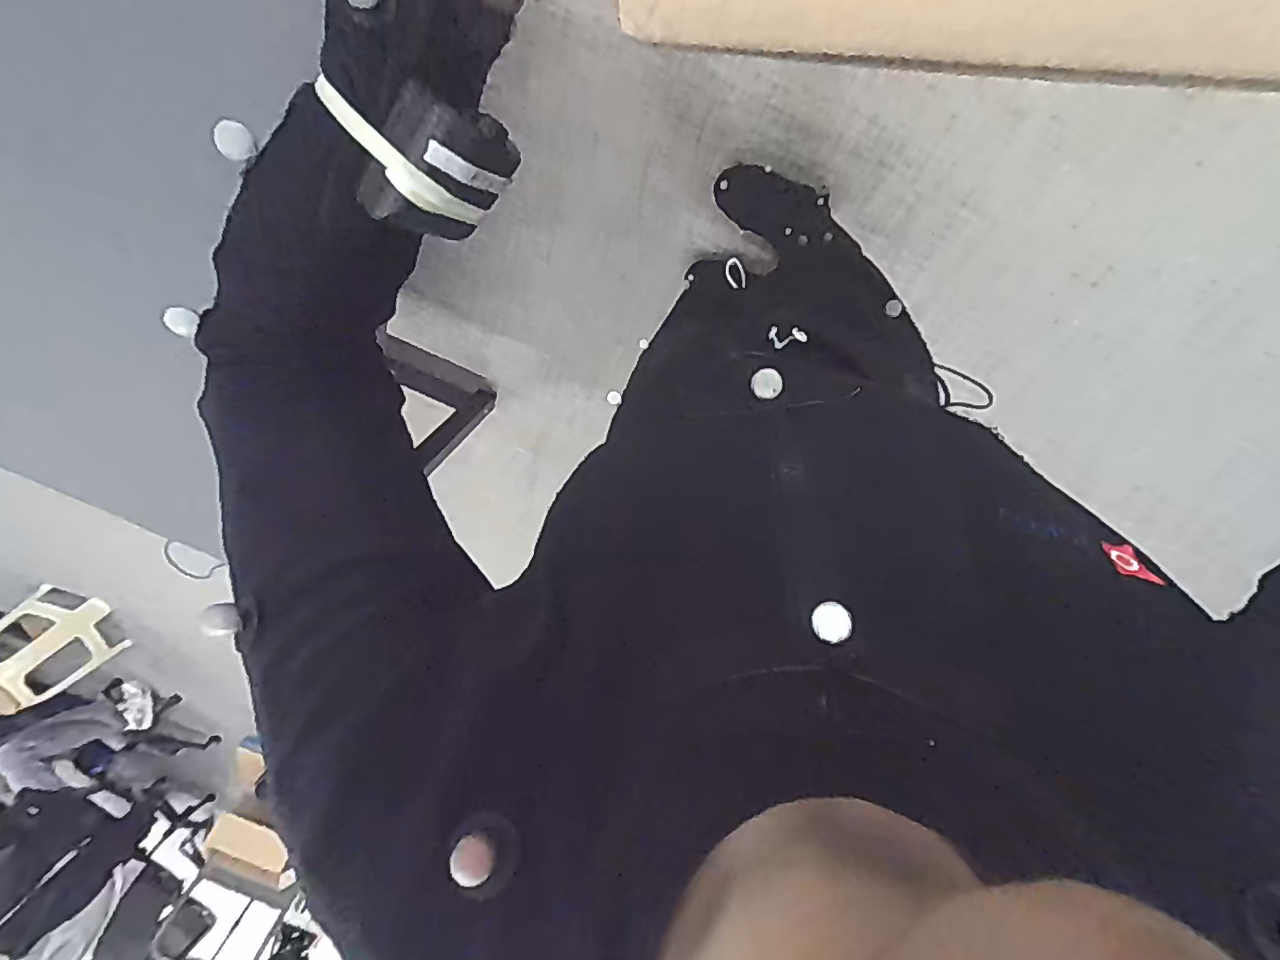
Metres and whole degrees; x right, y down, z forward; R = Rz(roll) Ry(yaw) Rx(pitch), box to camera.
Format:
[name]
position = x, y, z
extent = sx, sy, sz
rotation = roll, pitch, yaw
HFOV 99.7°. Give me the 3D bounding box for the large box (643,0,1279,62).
[large box]
position = 0.223, -0.386, 0.236
extent = 0.408, 0.320, 0.320
rotation = 9, 128, 7
